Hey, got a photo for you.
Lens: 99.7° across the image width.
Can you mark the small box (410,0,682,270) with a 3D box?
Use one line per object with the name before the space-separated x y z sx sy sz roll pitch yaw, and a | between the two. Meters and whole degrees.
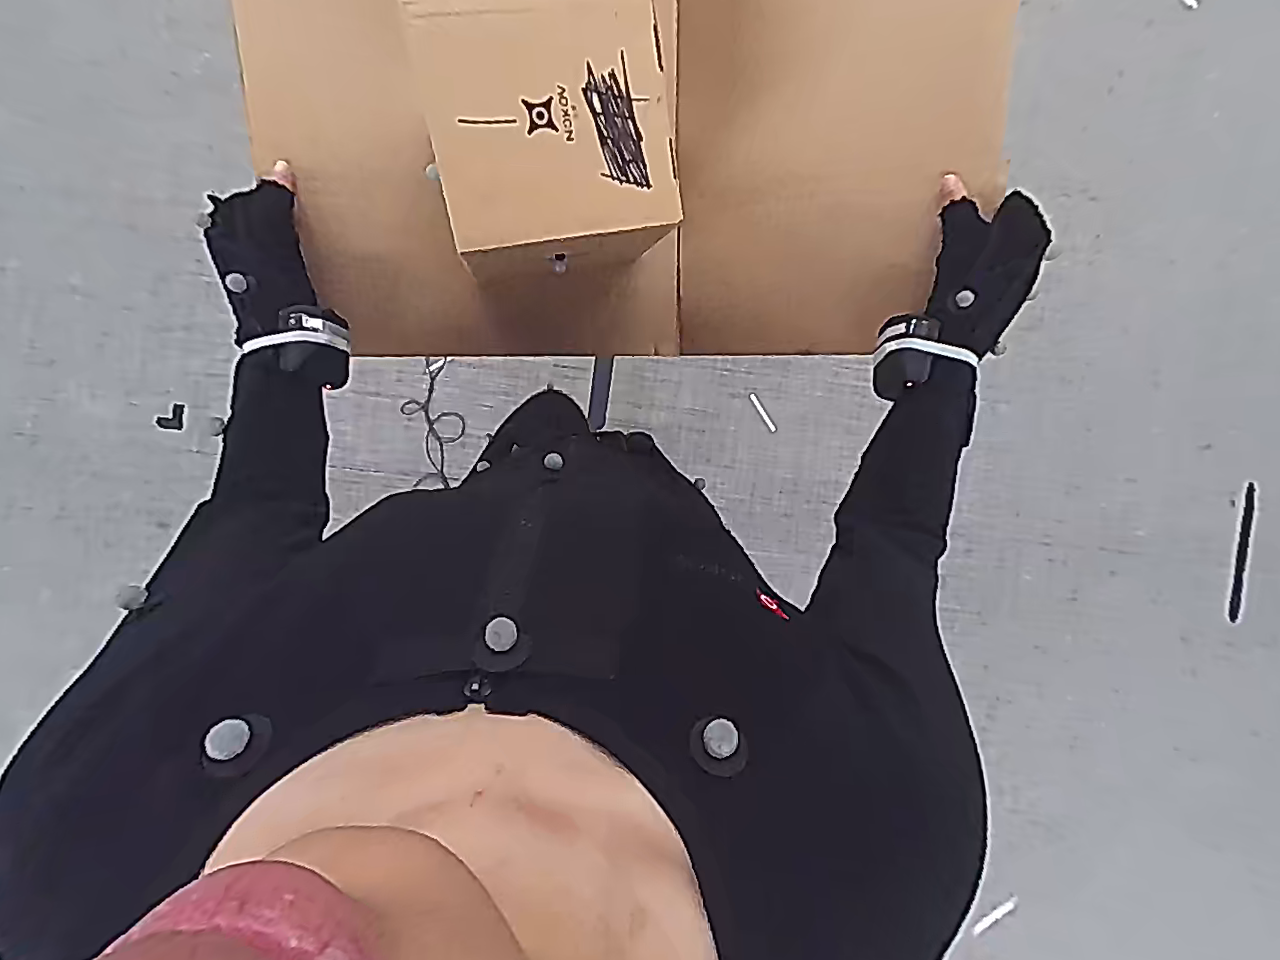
small box | -0.078 -0.290 0.473 0.179 0.176 0.168 -12 105 -9
